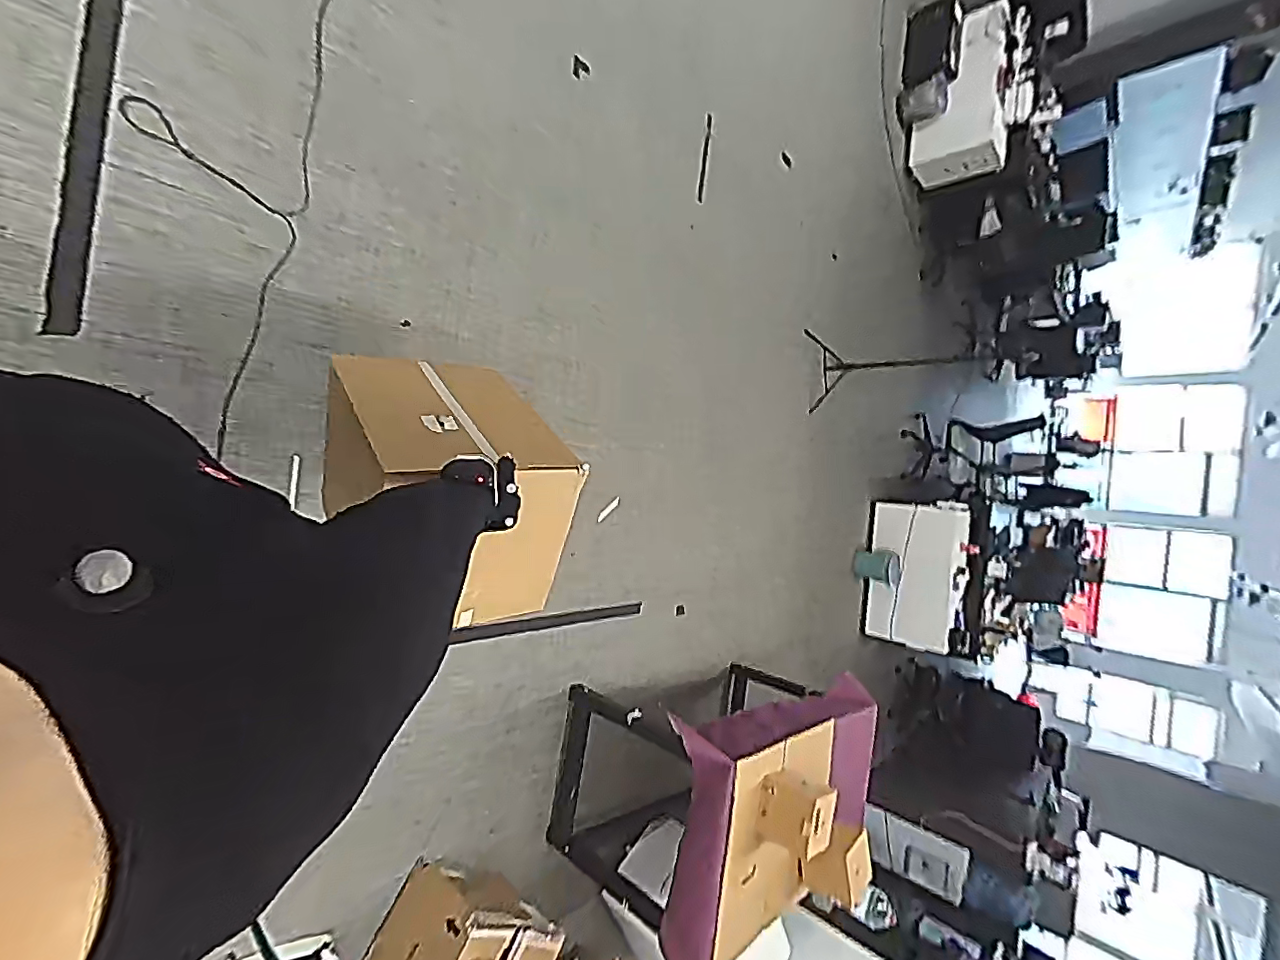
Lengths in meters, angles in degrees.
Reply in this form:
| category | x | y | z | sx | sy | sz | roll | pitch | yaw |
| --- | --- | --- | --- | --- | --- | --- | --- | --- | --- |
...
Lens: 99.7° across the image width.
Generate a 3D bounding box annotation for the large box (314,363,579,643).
| category | x | y | z | sx | sy | sz | roll | pitch | yaw |
| --- | --- | --- | --- | --- | --- | --- | --- | --- | --- |
| large box | -0.377 | 0.021 | 0.993 | 0.320 | 0.408 | 0.320 | -3 | 124 | -40 |
